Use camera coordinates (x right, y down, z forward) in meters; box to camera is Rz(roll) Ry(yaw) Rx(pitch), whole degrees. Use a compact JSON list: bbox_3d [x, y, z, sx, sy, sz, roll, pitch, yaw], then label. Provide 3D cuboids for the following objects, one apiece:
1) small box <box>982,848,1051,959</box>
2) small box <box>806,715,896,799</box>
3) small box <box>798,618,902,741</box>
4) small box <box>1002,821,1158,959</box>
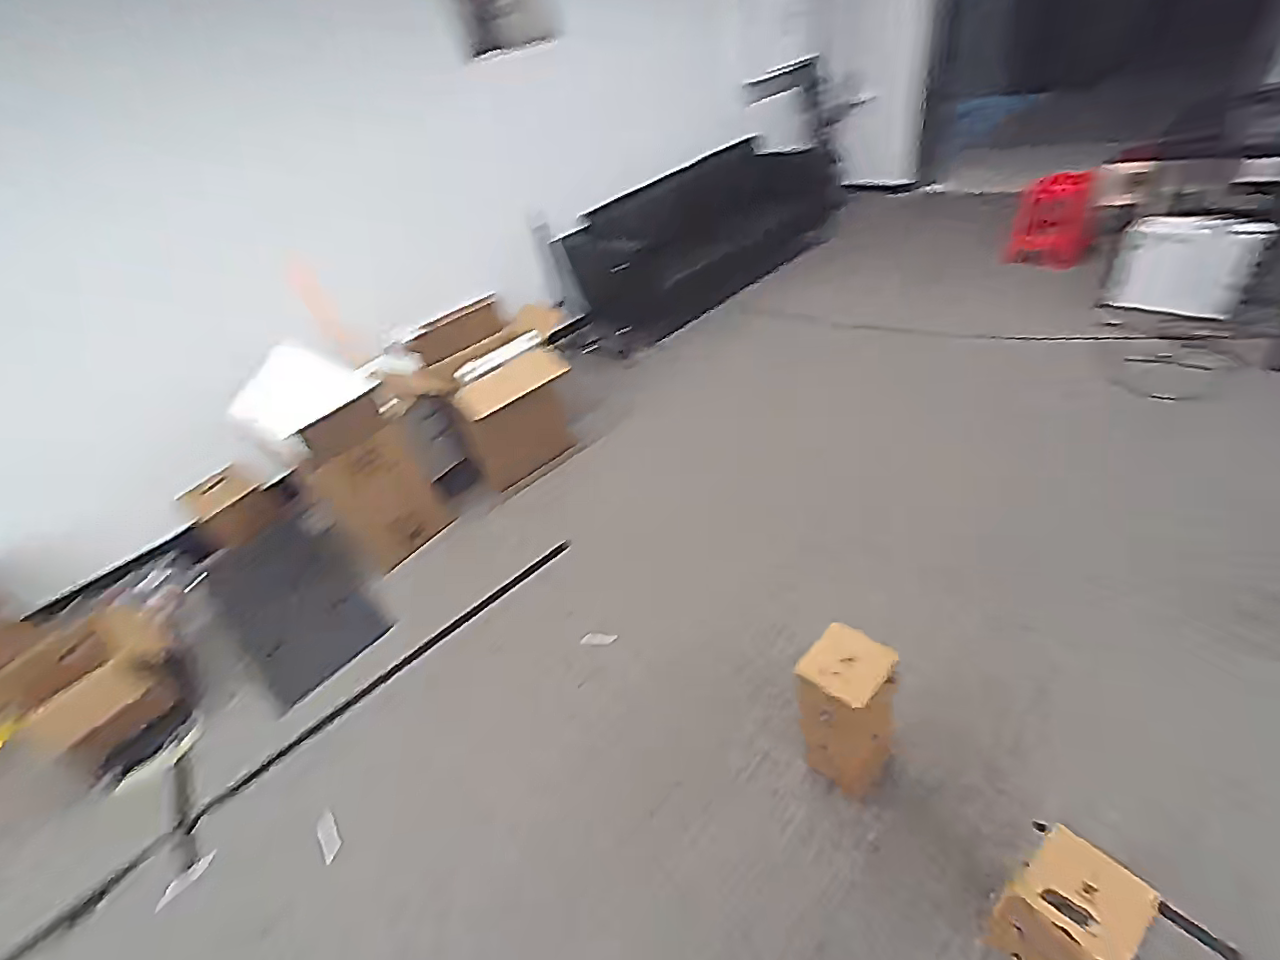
[{"bbox_3d":[0.849,0.931,1.131,0.179,0.176,0.168,-34,42,-22],"label":"small box"},{"bbox_3d":[0.574,0.724,1.486,0.179,0.176,0.168,-37,42,-26],"label":"small box"},{"bbox_3d":[0.498,0.473,1.288,0.179,0.176,0.168,-37,41,-25],"label":"small box"},{"bbox_3d":[0.821,0.808,1.027,0.179,0.176,0.168,-34,42,-23],"label":"small box"}]
